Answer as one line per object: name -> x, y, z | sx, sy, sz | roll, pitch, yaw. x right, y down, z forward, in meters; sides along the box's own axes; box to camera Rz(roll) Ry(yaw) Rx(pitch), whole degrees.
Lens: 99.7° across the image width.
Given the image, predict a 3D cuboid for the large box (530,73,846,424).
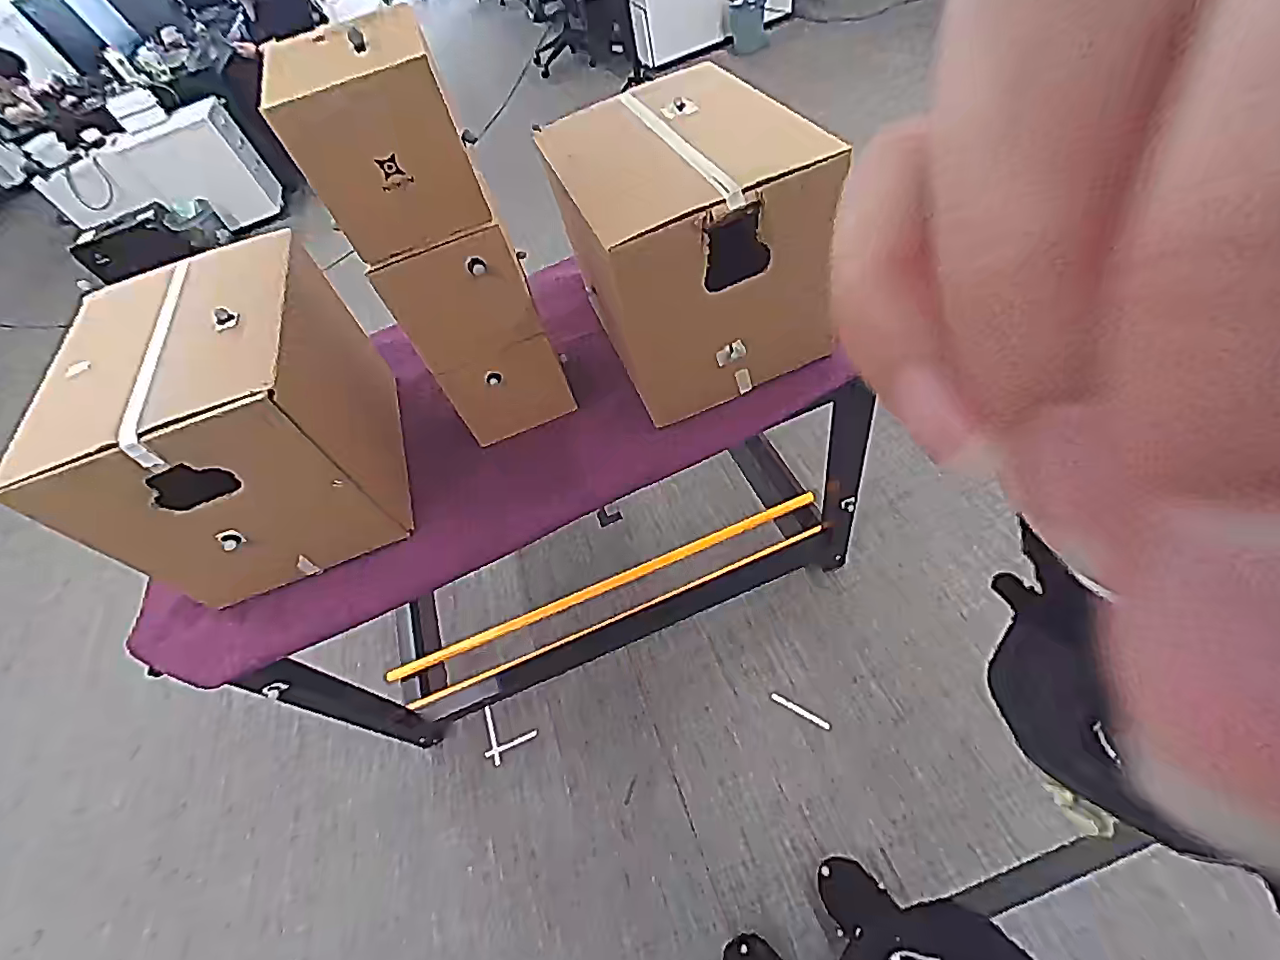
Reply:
large box -> 0.067, -0.365, 0.852 | 0.320, 0.320, 0.408 | -23, 51, -4
